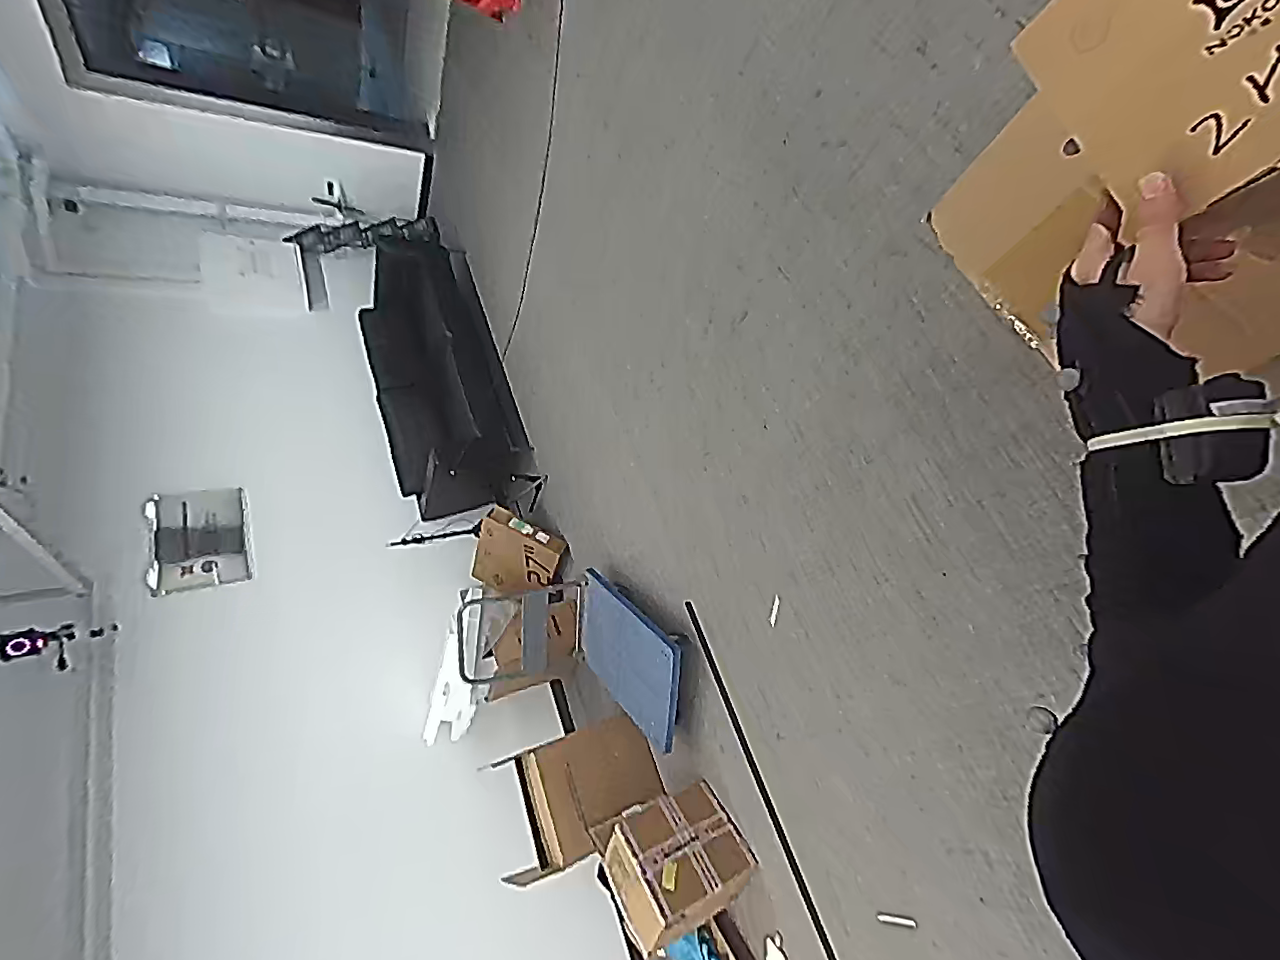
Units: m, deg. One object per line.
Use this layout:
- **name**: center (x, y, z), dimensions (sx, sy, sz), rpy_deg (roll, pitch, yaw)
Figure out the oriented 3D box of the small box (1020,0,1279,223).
- **small box**: center (0.384, -0.277, 0.320), dimensions (0.168, 0.176, 0.179), rpy_deg (-40, 70, 58)
